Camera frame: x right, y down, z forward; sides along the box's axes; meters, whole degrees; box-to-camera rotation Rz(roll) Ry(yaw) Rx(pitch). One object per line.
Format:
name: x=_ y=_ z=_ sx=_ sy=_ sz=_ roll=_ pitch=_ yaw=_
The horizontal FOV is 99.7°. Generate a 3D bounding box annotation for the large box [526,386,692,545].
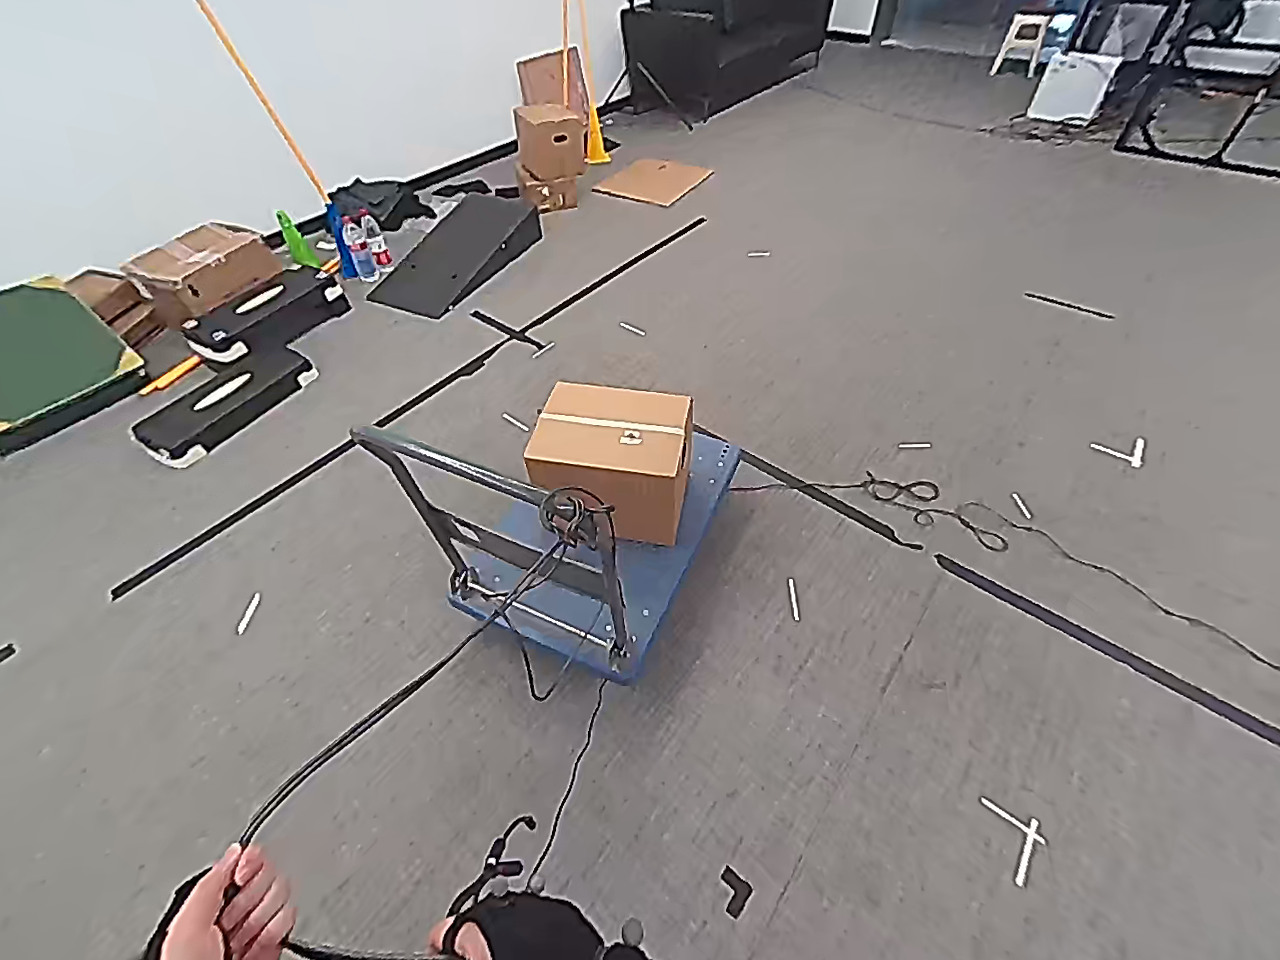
large box: x=-0.075 y=-0.042 z=1.575 sx=0.408 sy=0.320 sz=0.320 roll=8 pitch=50 yaw=8
